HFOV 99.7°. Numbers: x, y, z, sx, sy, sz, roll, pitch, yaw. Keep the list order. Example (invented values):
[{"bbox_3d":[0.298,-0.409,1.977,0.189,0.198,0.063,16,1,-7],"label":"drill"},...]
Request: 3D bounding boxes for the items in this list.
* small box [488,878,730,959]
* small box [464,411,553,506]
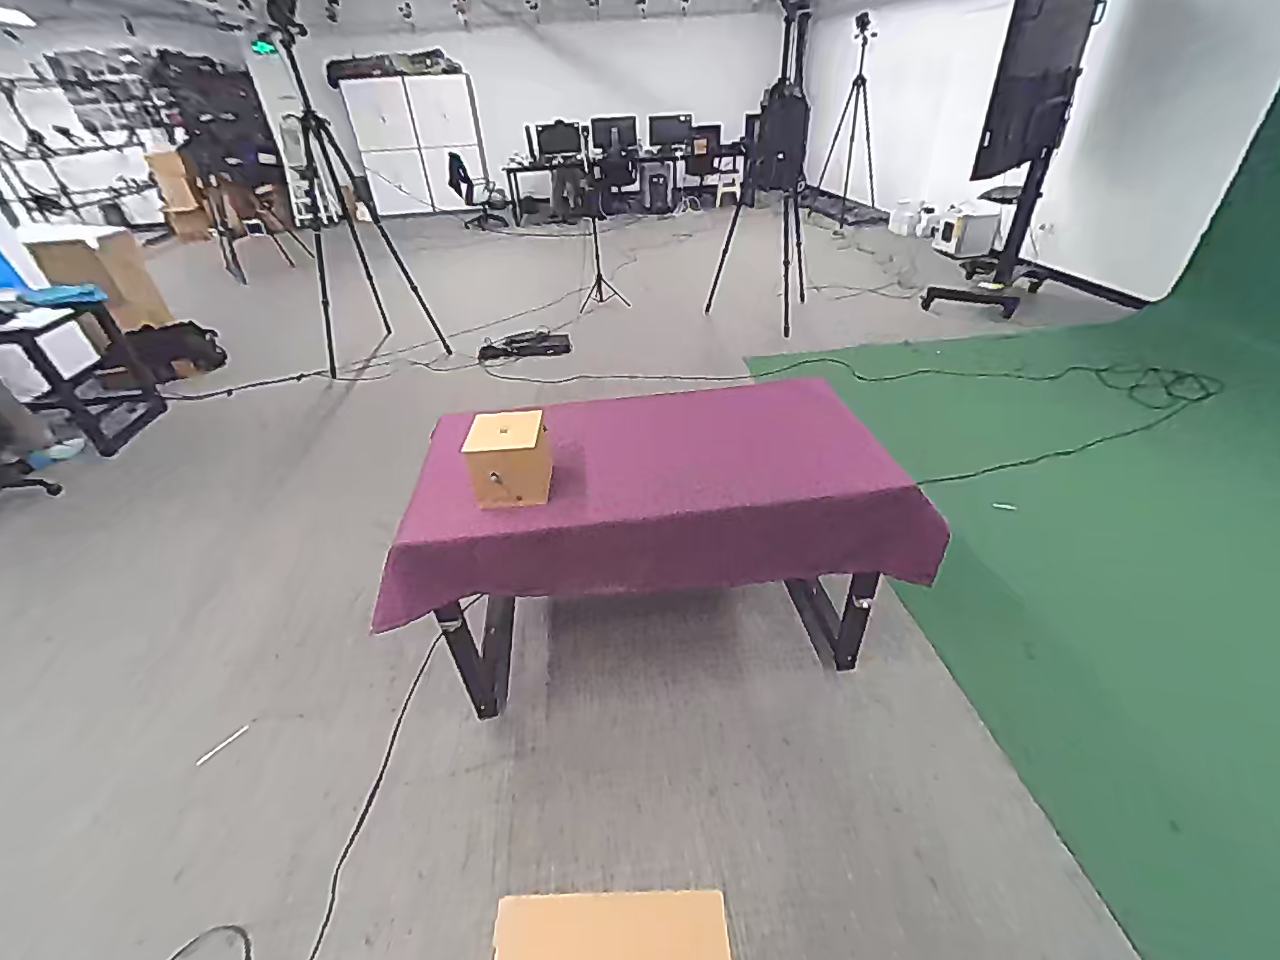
[{"bbox_3d":[-0.025,0.427,0.411,0.179,0.176,0.168,2,39,-4],"label":"small box"},{"bbox_3d":[-0.308,-0.047,1.309,0.168,0.176,0.179,-4,34,0],"label":"small box"}]
